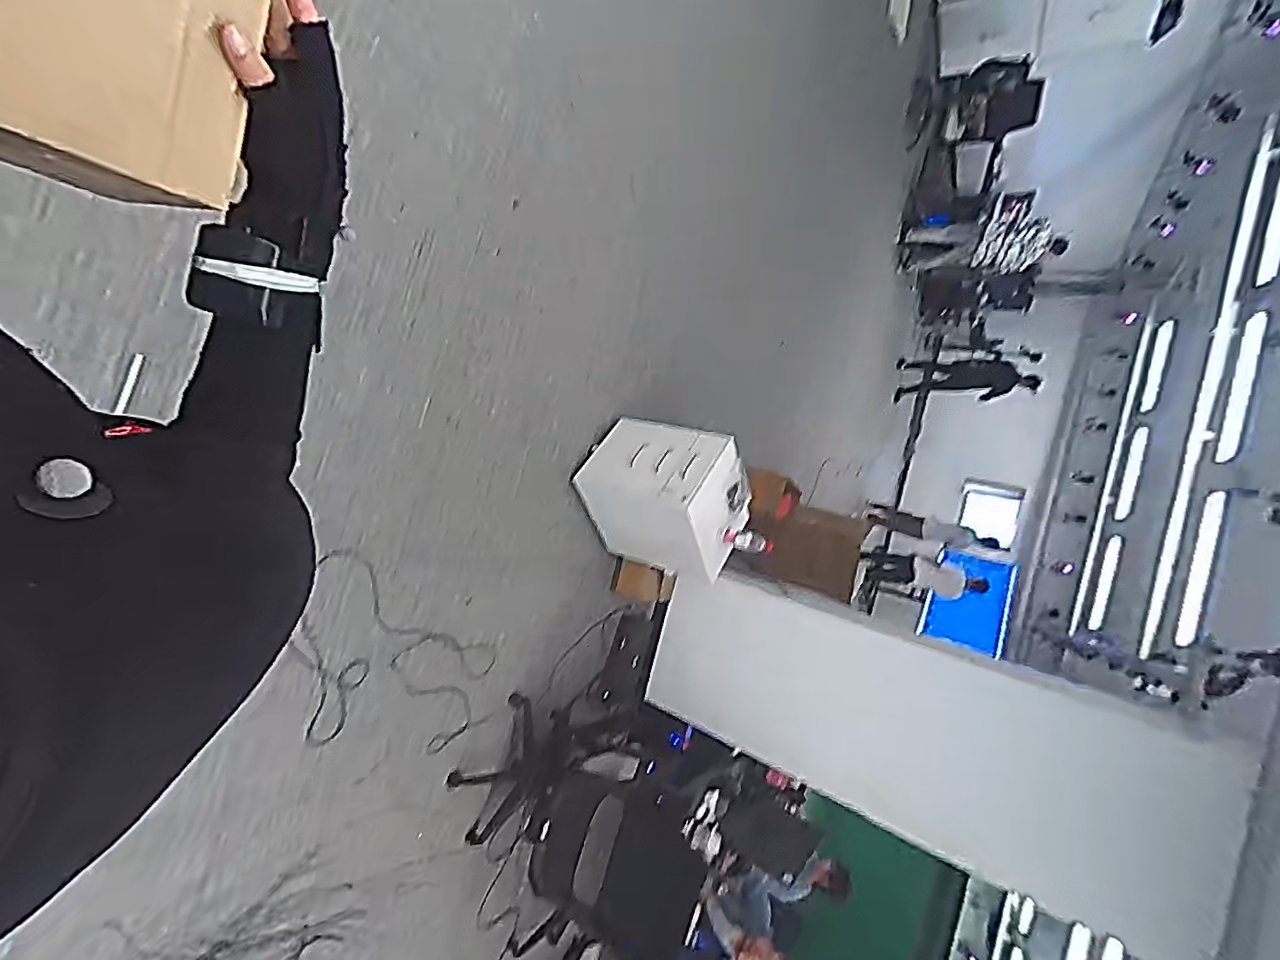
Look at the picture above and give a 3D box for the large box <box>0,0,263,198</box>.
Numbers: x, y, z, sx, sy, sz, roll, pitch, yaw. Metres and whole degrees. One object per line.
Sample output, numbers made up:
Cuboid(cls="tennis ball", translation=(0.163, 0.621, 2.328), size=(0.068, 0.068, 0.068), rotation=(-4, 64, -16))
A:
Cuboid(cls="large box", translation=(-0.476, -0.392, 0.279), size=(0.408, 0.320, 0.320), rotation=(6, 104, -55))
